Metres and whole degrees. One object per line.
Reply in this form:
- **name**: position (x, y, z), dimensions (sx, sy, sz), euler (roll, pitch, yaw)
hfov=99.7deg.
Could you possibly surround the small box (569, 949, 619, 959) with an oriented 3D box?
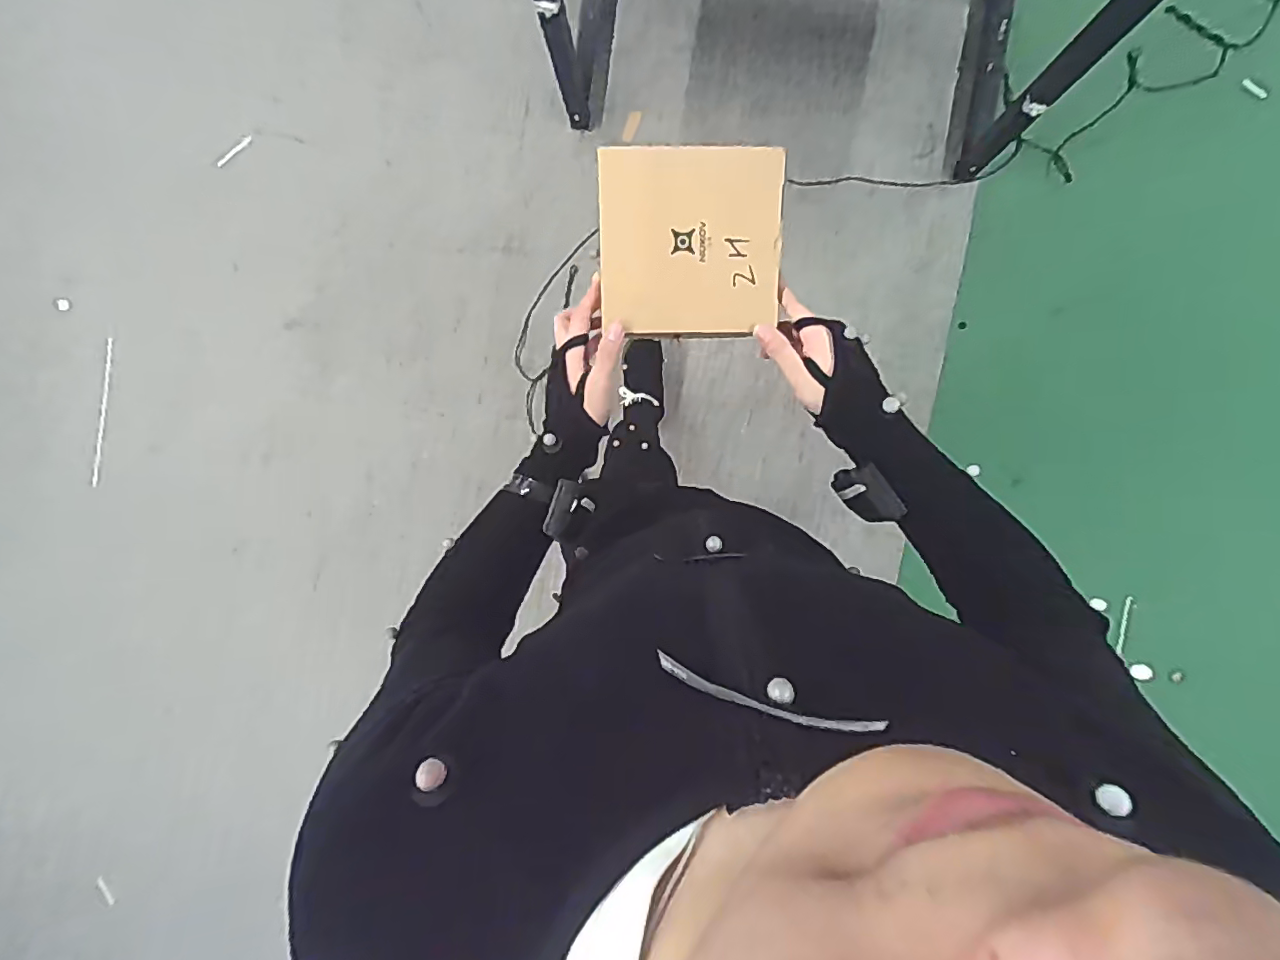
- **small box**: position (-0.127, 1.403, 1.432), dimensions (0.168, 0.176, 0.179), euler (8, 94, 3)

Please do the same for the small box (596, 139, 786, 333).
- **small box**: position (0.046, -0.249, 0.588), dimensions (0.179, 0.176, 0.168), euler (-1, 104, -1)
